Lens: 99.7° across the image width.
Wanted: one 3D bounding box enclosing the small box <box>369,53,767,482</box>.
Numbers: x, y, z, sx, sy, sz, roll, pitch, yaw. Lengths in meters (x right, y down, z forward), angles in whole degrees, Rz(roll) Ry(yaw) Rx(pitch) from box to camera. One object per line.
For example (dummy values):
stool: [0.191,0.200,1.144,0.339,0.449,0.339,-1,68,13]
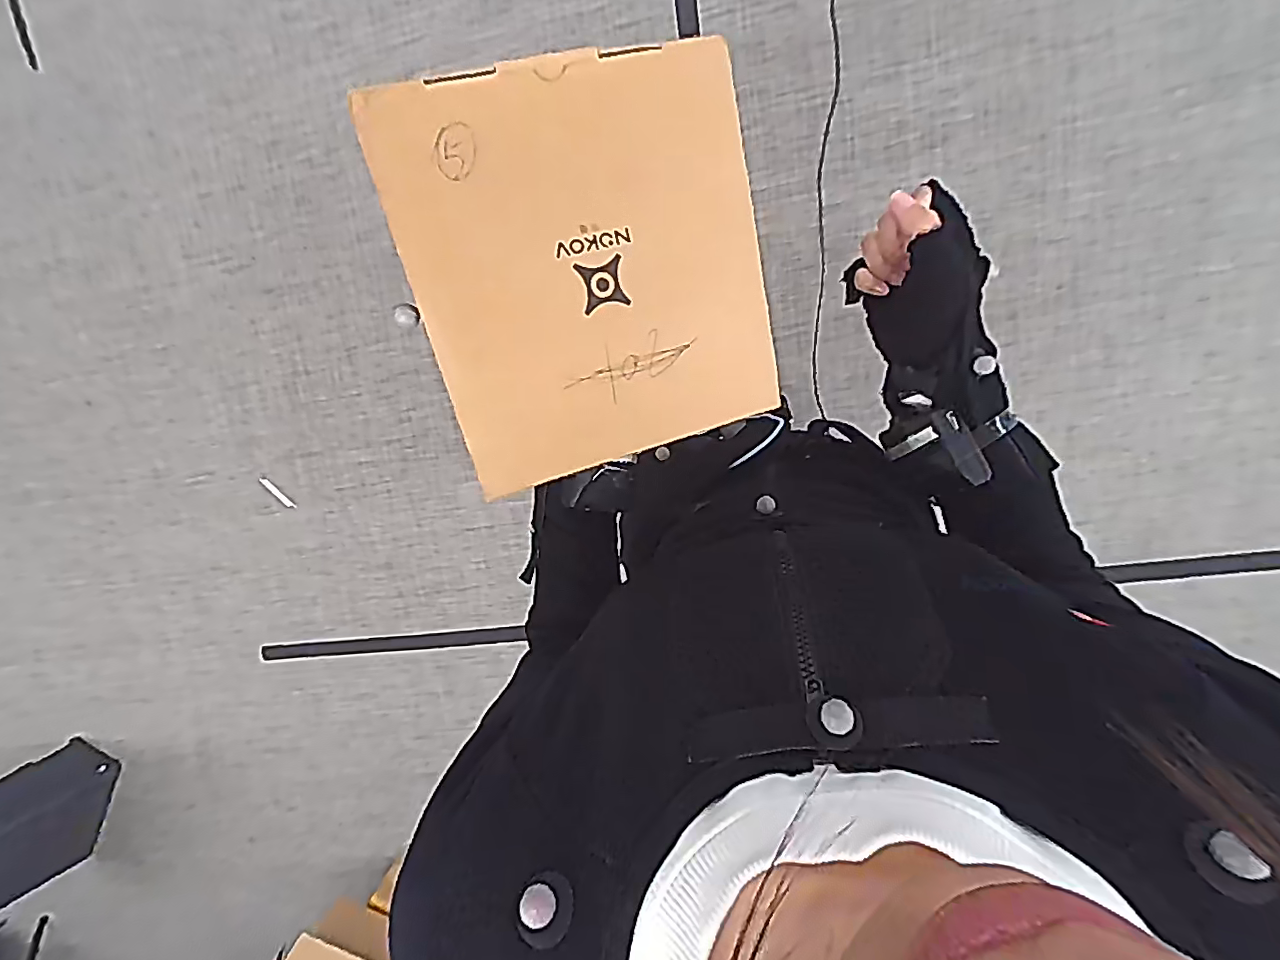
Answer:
small box: [-0.045,-0.120,0.340,0.168,0.176,0.179,-18,109,-12]
